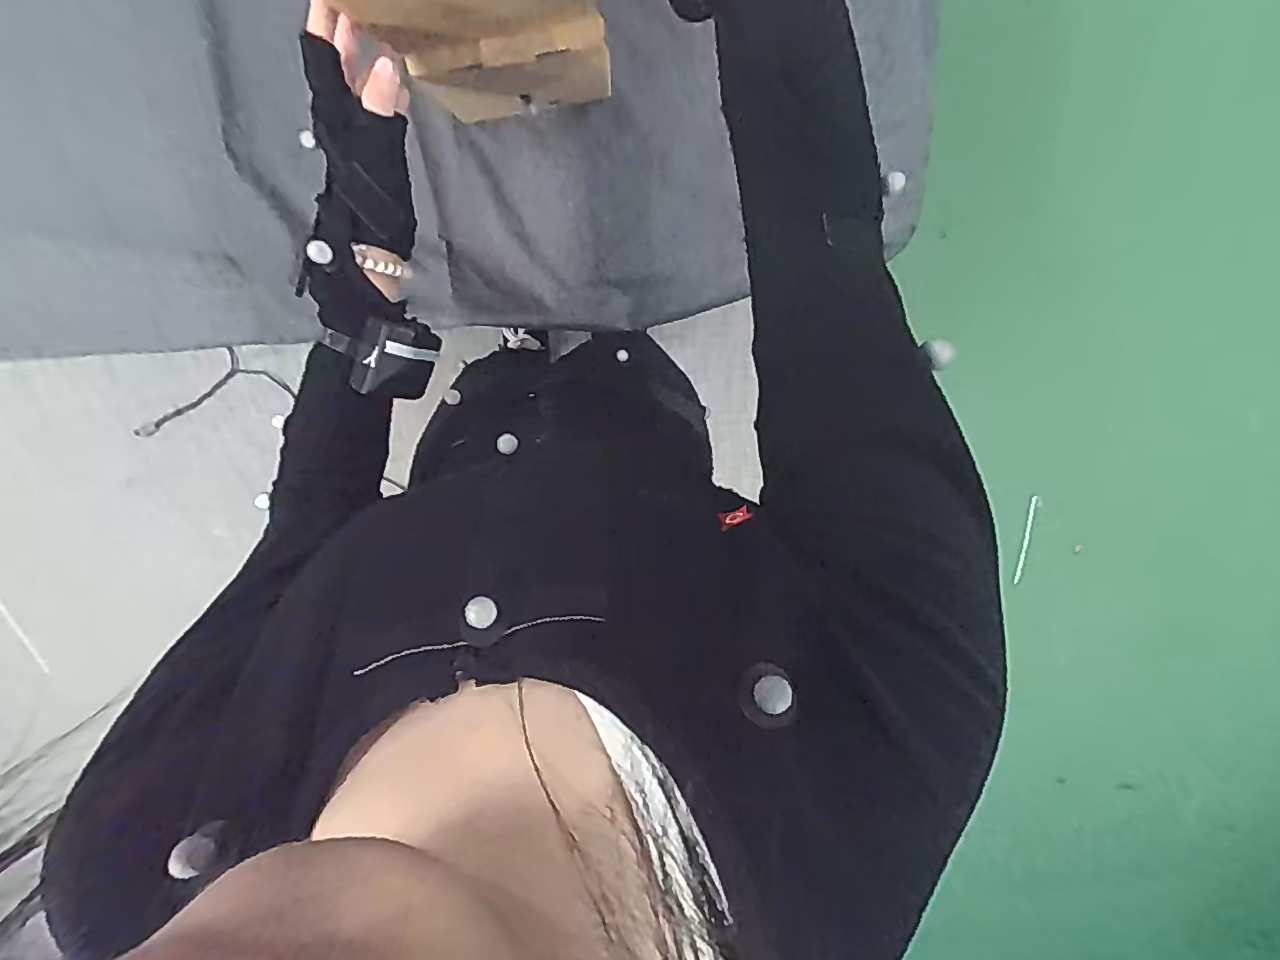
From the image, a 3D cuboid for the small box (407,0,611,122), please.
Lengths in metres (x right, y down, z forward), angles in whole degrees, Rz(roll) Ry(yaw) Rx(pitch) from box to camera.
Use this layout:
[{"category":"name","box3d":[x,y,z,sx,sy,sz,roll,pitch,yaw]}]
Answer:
[{"category":"small box","box3d":[-0.119,-0.447,0.480,0.168,0.176,0.179,-8,113,1]}]

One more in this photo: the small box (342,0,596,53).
[{"category":"small box","box3d":[-0.124,-0.393,0.326,0.179,0.176,0.168,-10,112,1]}]
